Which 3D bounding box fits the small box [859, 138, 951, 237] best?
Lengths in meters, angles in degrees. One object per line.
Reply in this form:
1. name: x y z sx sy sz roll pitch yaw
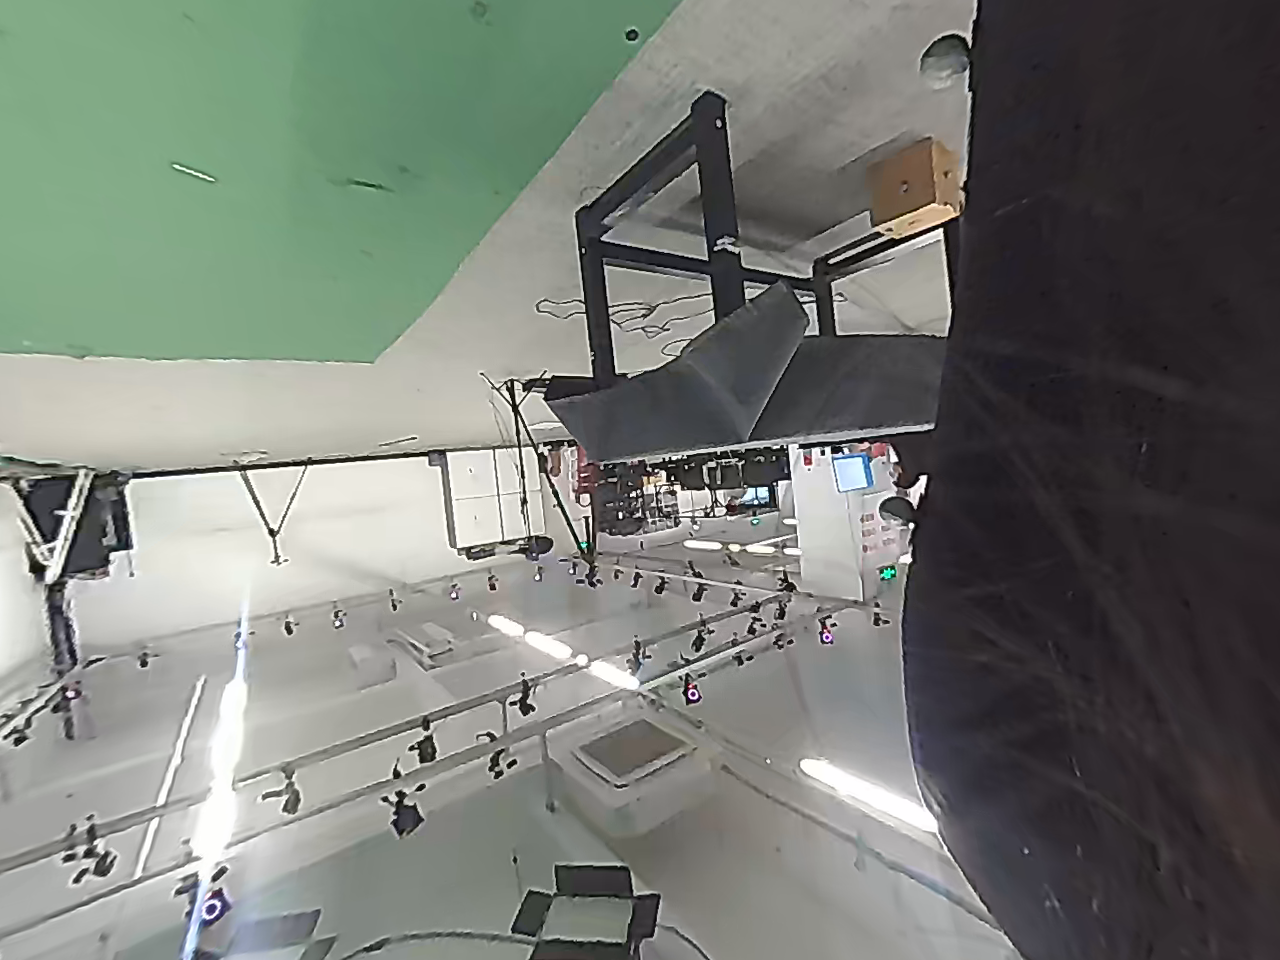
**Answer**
1. small box: 0.729 -0.802 1.492 0.168 0.176 0.179 -8 -179 -41
